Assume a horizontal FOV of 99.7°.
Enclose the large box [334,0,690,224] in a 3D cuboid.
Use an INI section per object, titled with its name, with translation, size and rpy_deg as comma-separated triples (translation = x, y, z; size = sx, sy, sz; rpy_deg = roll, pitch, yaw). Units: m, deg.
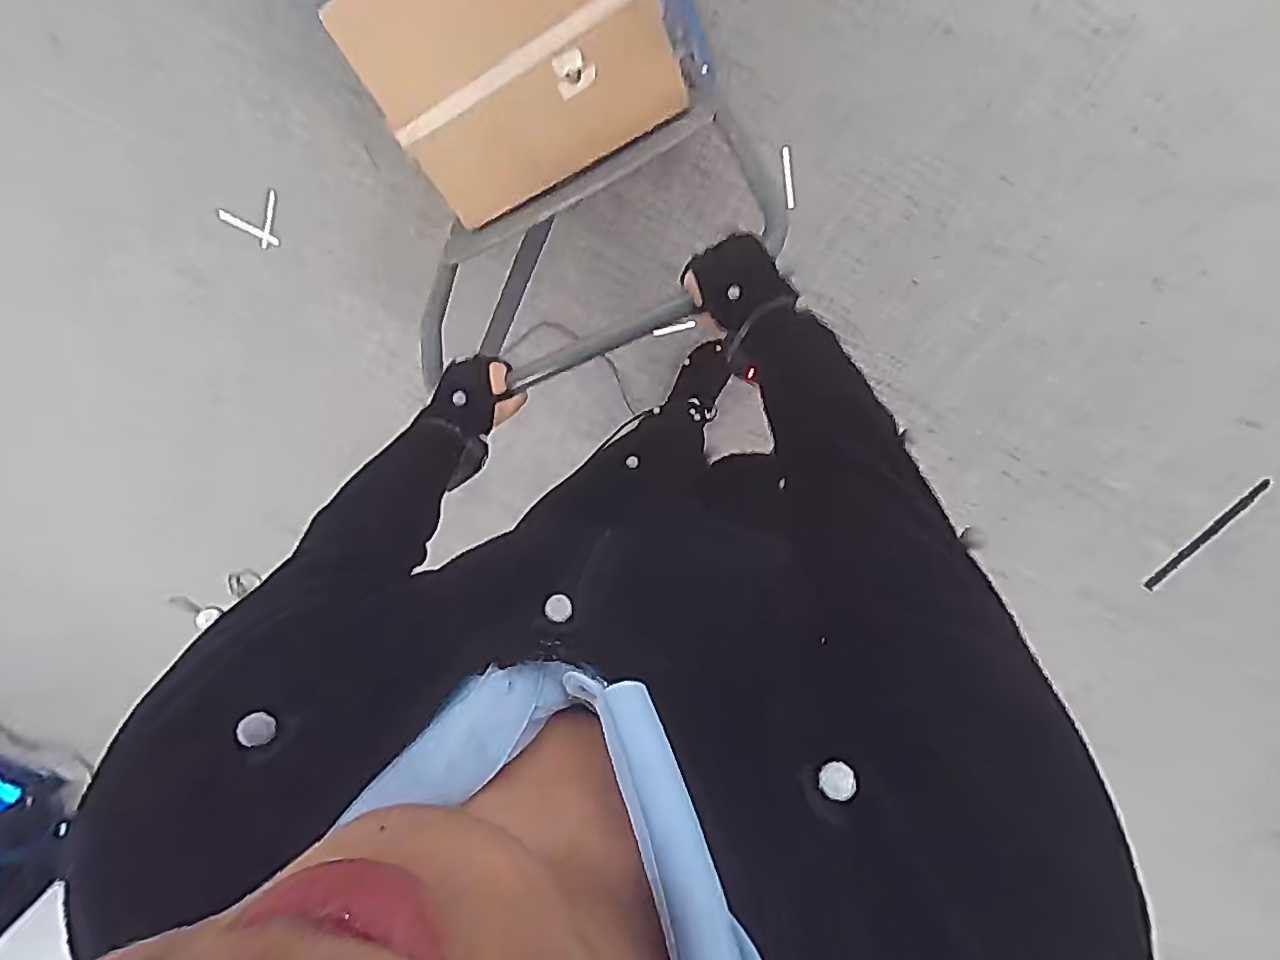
[large box]
translation = -0.179, -0.697, 0.864
size = 0.408, 0.320, 0.320
rpy_deg = -23, 133, 15
